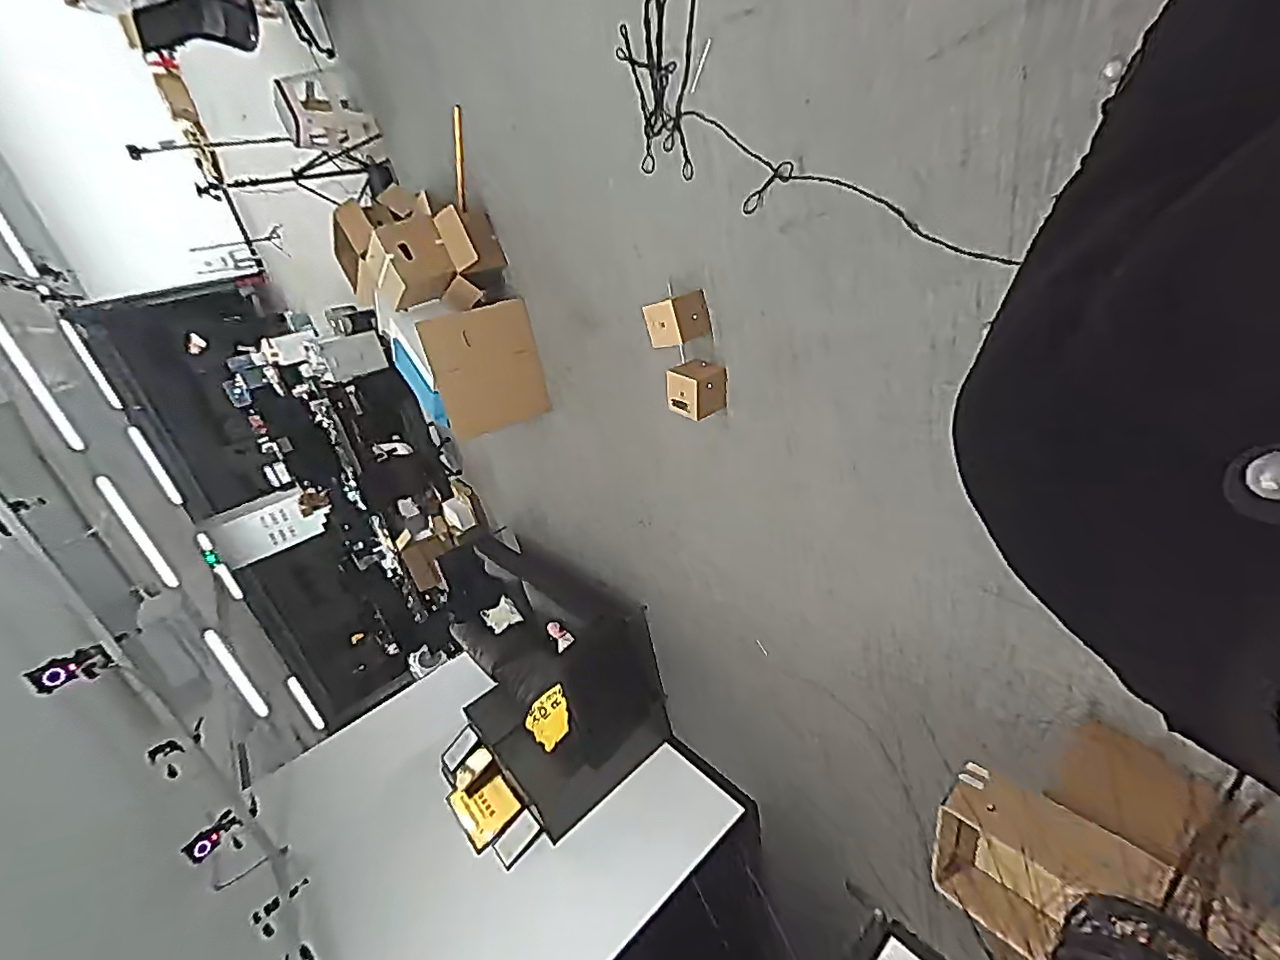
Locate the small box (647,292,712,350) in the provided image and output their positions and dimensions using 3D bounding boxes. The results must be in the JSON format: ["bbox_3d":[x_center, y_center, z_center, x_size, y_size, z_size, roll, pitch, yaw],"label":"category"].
[{"bbox_3d":[0.160,-0.611,2.076,0.179,0.176,0.168,10,122,53],"label":"small box"}]
